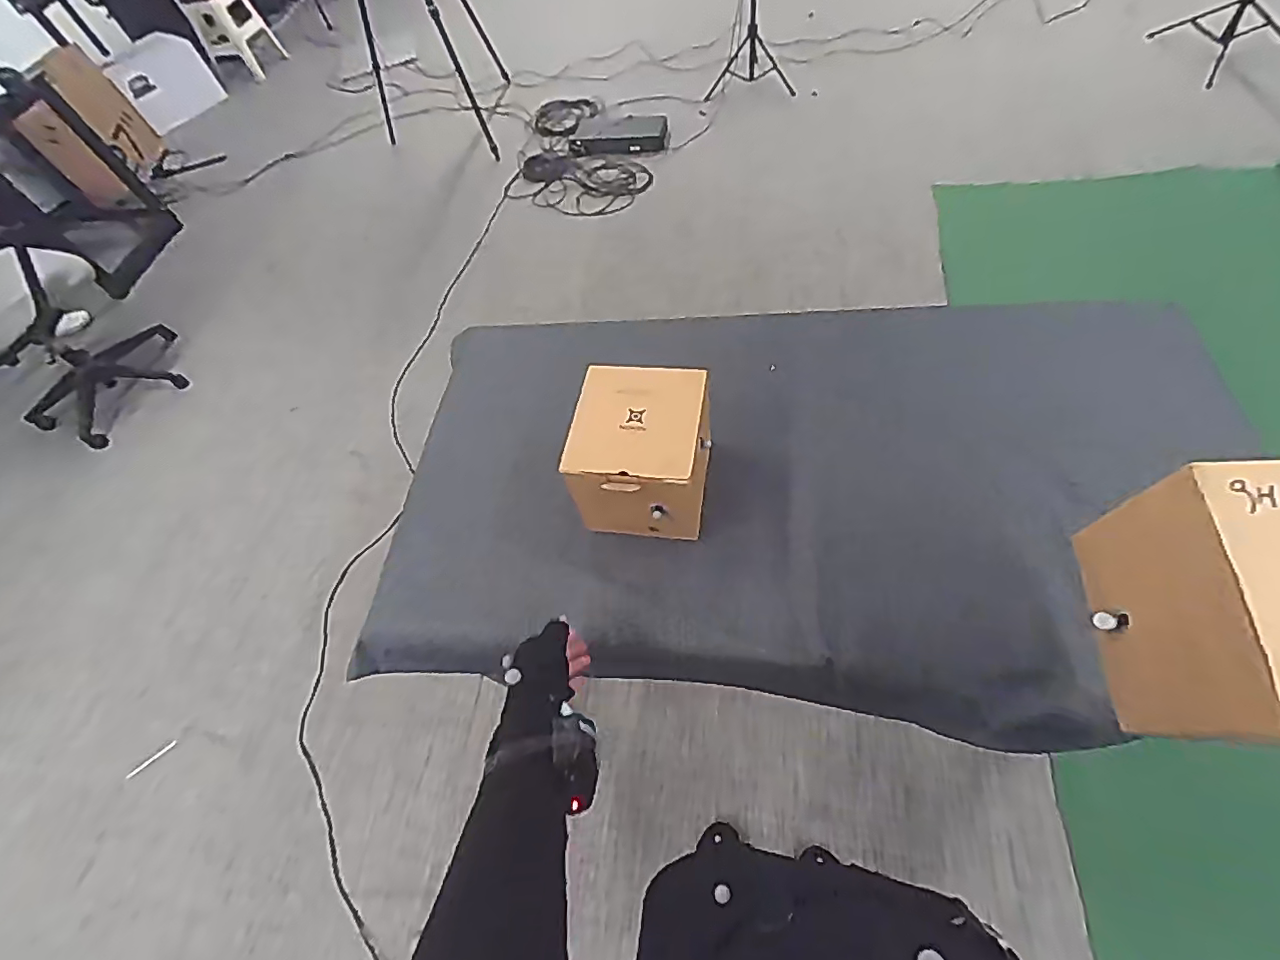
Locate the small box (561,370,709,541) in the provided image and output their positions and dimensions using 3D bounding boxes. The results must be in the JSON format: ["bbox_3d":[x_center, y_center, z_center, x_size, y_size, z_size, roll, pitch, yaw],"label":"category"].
[{"bbox_3d":[0.006,-0.030,0.755,0.168,0.176,0.179,5,58,11],"label":"small box"}]

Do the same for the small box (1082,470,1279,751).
[{"bbox_3d":[0.472,0.103,0.393,0.168,0.176,0.179,-1,66,12],"label":"small box"}]
